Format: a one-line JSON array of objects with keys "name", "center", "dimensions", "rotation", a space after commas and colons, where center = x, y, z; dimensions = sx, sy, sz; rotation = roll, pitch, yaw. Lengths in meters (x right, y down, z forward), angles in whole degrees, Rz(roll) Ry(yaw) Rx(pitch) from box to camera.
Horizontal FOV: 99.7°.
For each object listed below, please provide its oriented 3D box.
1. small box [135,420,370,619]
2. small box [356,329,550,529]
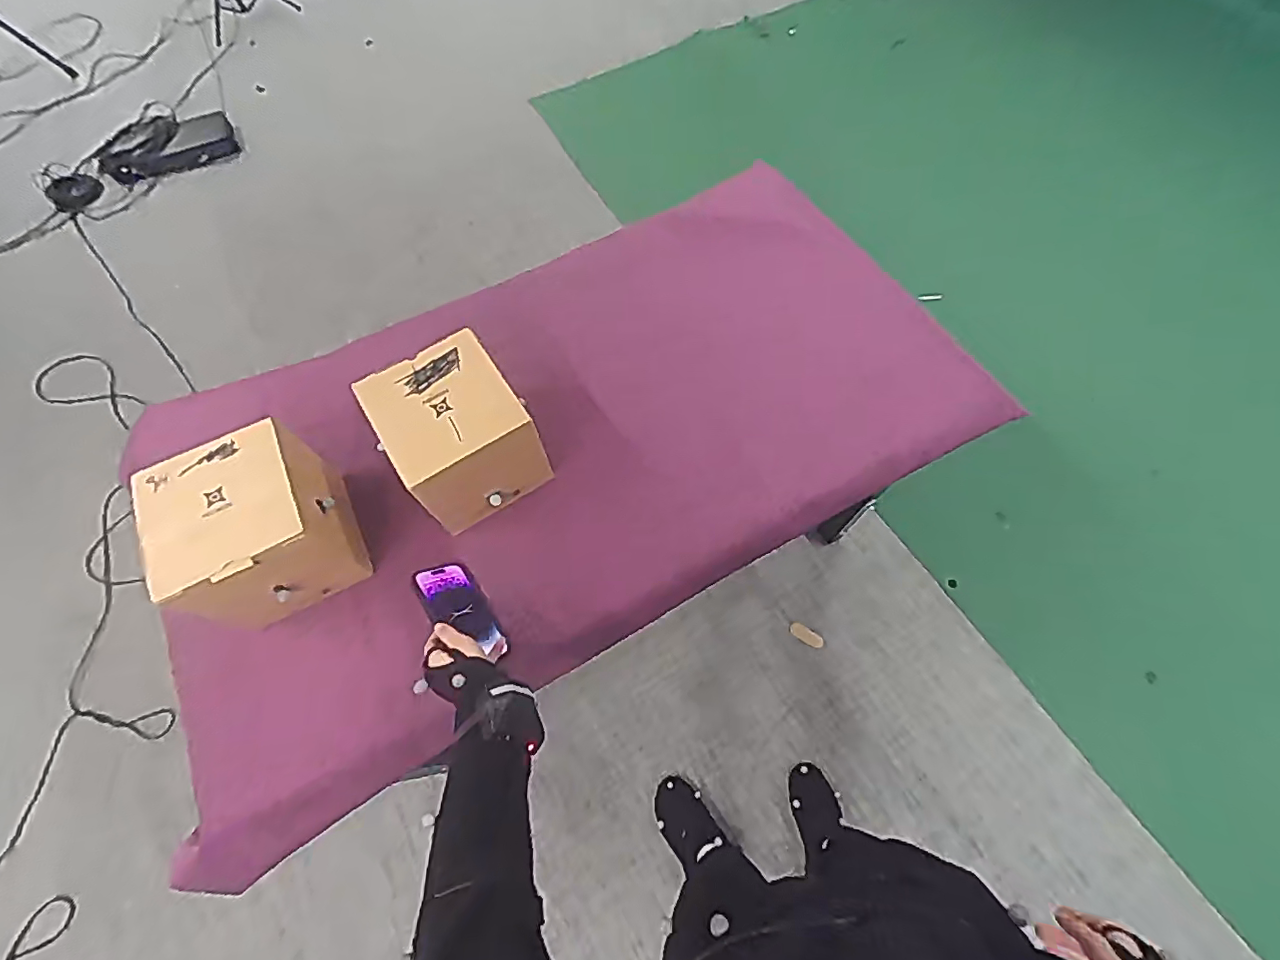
[{"name": "small box", "center": [-0.477, 0.061, 0.688], "dimensions": [0.168, 0.176, 0.179], "rotation": [-27, 68, -10]}, {"name": "small box", "center": [-0.244, -0.062, 0.738], "dimensions": [0.168, 0.176, 0.179], "rotation": [-32, 68, -12]}]
